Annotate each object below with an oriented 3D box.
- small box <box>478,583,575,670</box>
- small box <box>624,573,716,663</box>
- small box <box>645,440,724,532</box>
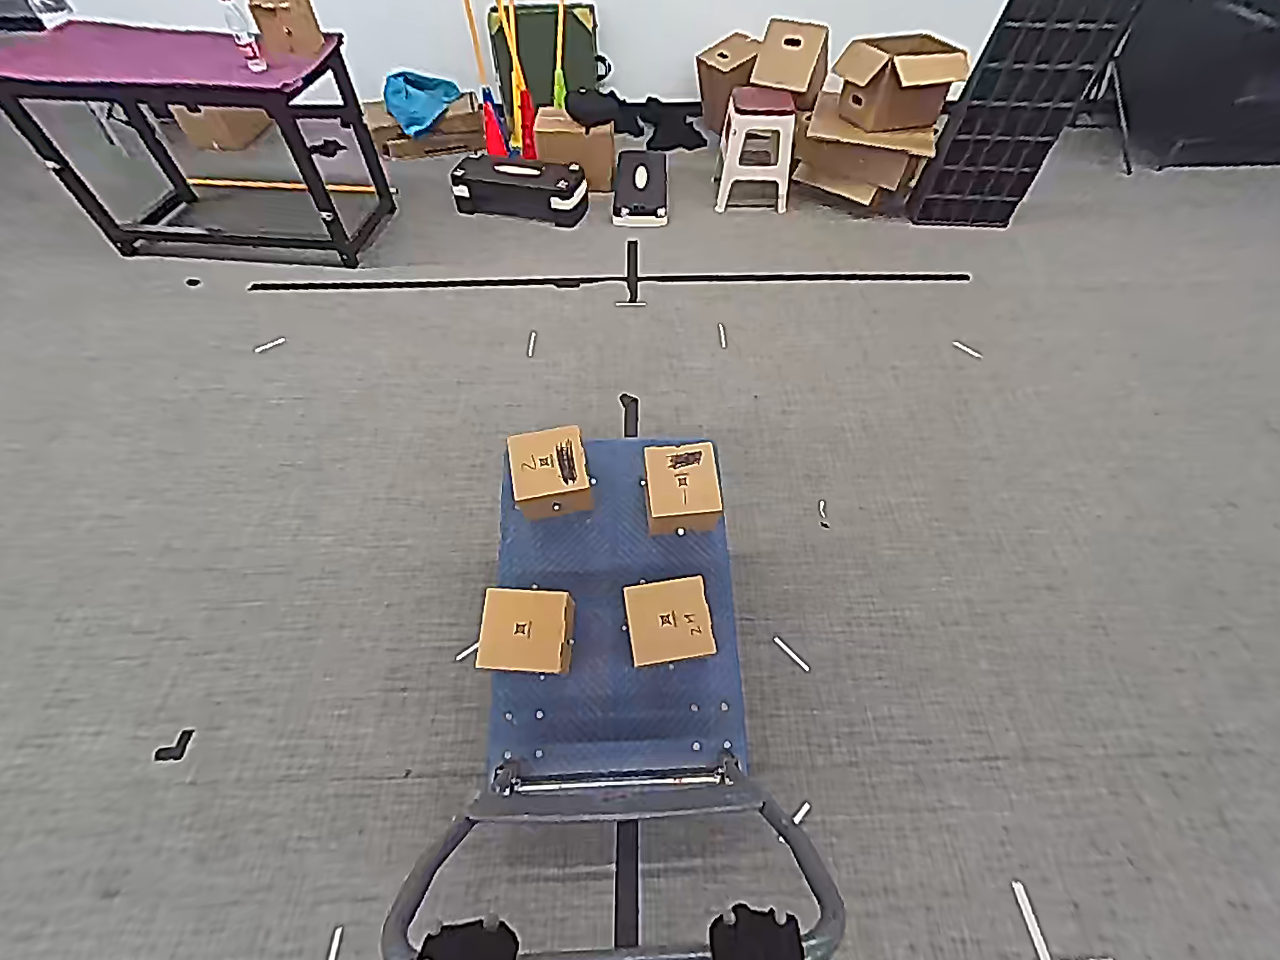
[{"bbox_3d":[-0.245,0.332,1.209,0.179,0.176,0.168,4,70,-1],"label":"small box"},{"bbox_3d":[0.063,0.317,1.219,0.179,0.176,0.168,-8,70,-3],"label":"small box"},{"bbox_3d":[0.102,0.018,1.330,0.168,0.176,0.179,-5,71,-2],"label":"small box"}]
